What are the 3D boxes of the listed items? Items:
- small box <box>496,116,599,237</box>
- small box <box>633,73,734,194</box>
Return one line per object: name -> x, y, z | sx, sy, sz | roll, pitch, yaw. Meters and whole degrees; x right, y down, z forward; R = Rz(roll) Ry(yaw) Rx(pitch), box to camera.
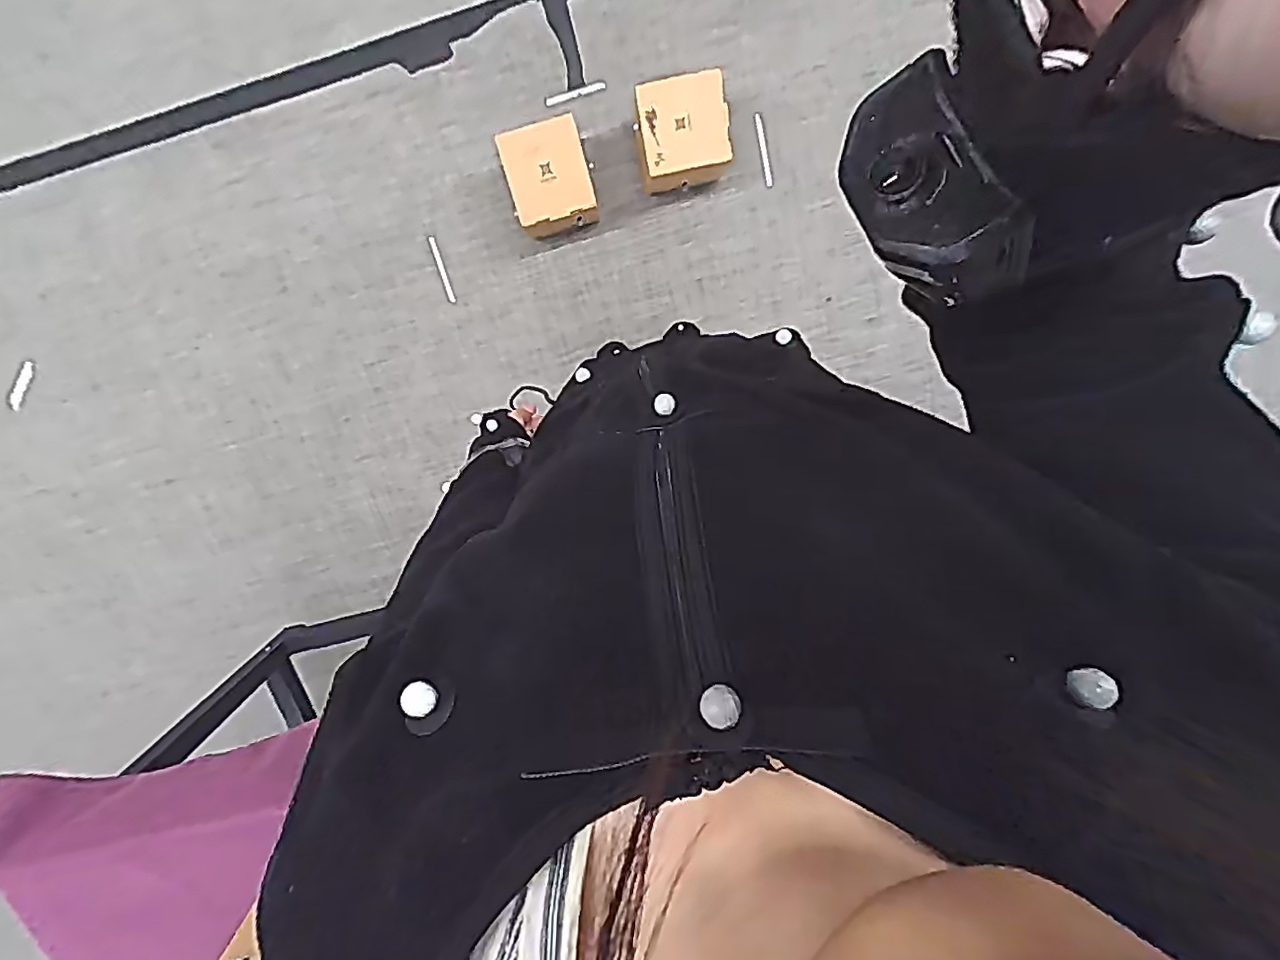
small box -> -0.190, -0.642, 1.170 | 0.168, 0.176, 0.179 | -17, 105, 1
small box -> 0.088, -0.730, 1.157 | 0.179, 0.176, 0.168 | -11, 107, 0
